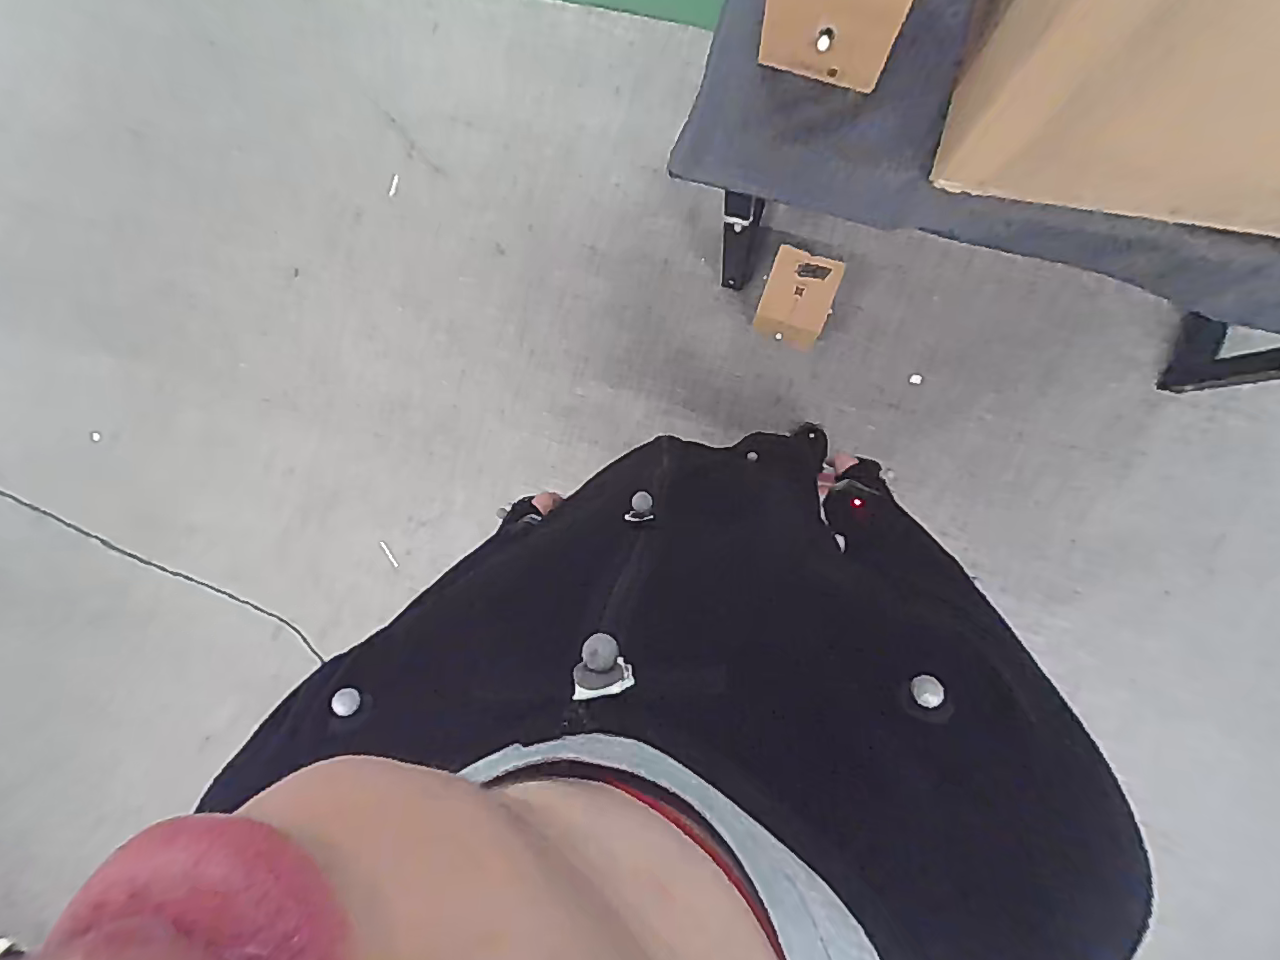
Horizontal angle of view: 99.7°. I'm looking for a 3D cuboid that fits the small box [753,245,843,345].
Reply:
[{"bbox_3d":[0.399,-0.471,1.399,0.168,0.176,0.179,21,96,7],"label":"small box"}]
